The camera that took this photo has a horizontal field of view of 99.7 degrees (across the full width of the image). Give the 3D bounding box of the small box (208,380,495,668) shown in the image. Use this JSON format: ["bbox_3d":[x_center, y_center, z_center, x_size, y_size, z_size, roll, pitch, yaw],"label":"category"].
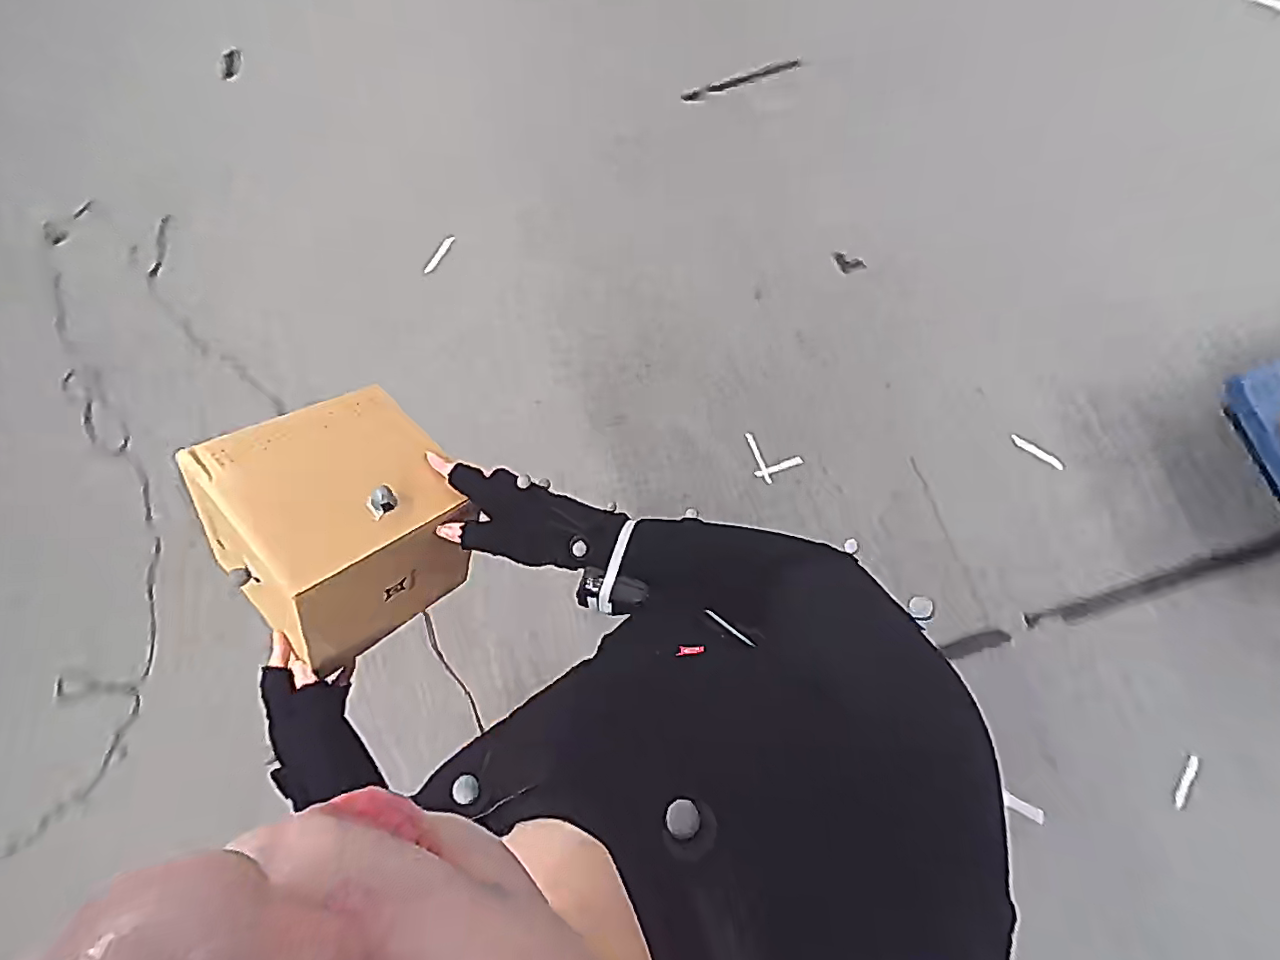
[{"bbox_3d":[-0.270,0.034,0.516,0.176,0.168,0.179,42,47,13],"label":"small box"}]
